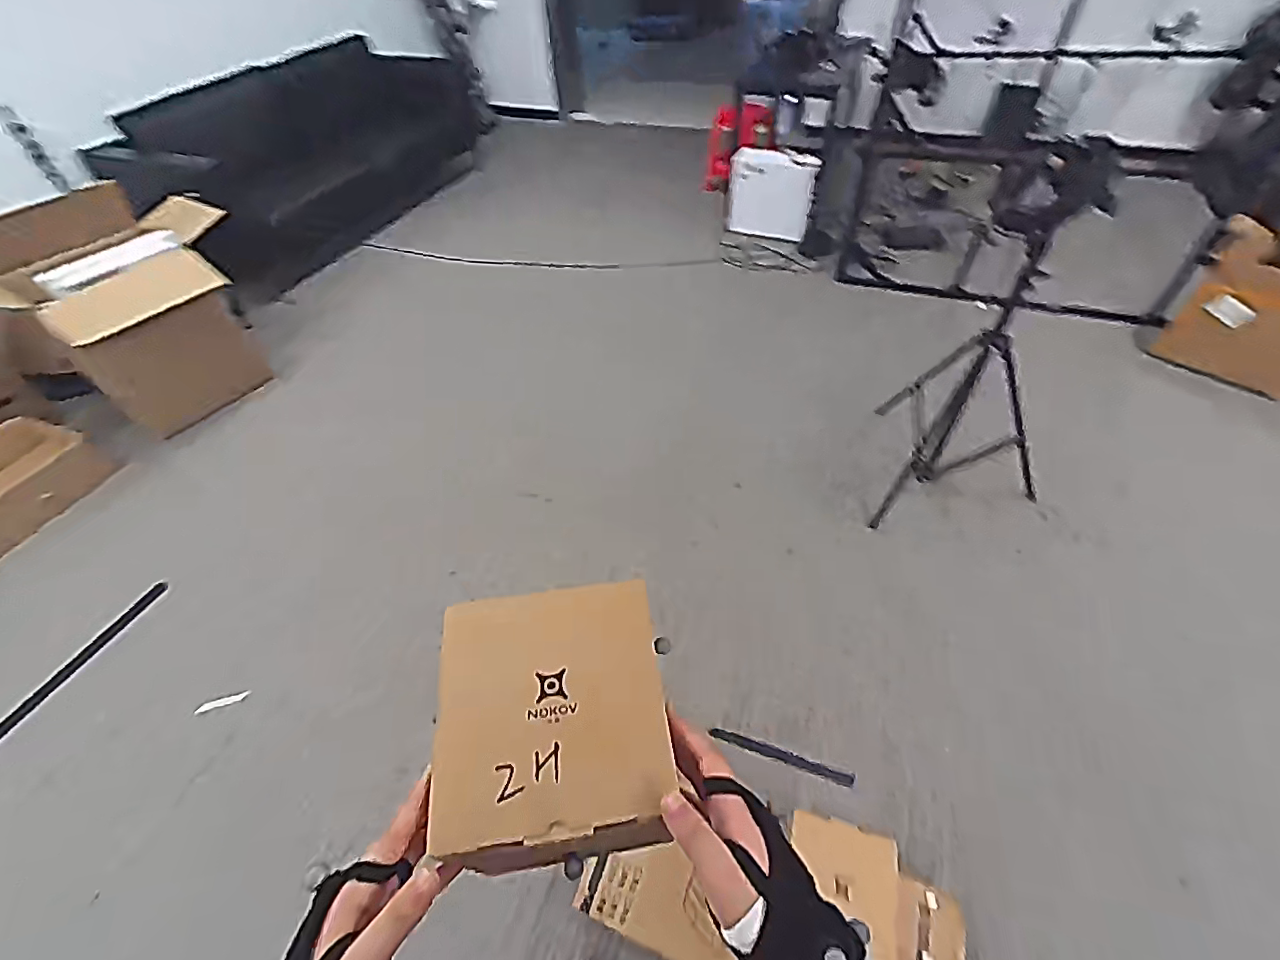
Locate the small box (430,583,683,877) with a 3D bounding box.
[{"bbox_3d":[-0.065,0.213,0.460,0.168,0.176,0.179,-7,51,-6],"label":"small box"}]

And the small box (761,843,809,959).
[{"bbox_3d":[0.330,0.804,1.019,0.168,0.176,0.179,13,50,15],"label":"small box"}]

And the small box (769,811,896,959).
[{"bbox_3d":[0.316,0.691,0.902,0.168,0.176,0.179,11,49,13],"label":"small box"}]
